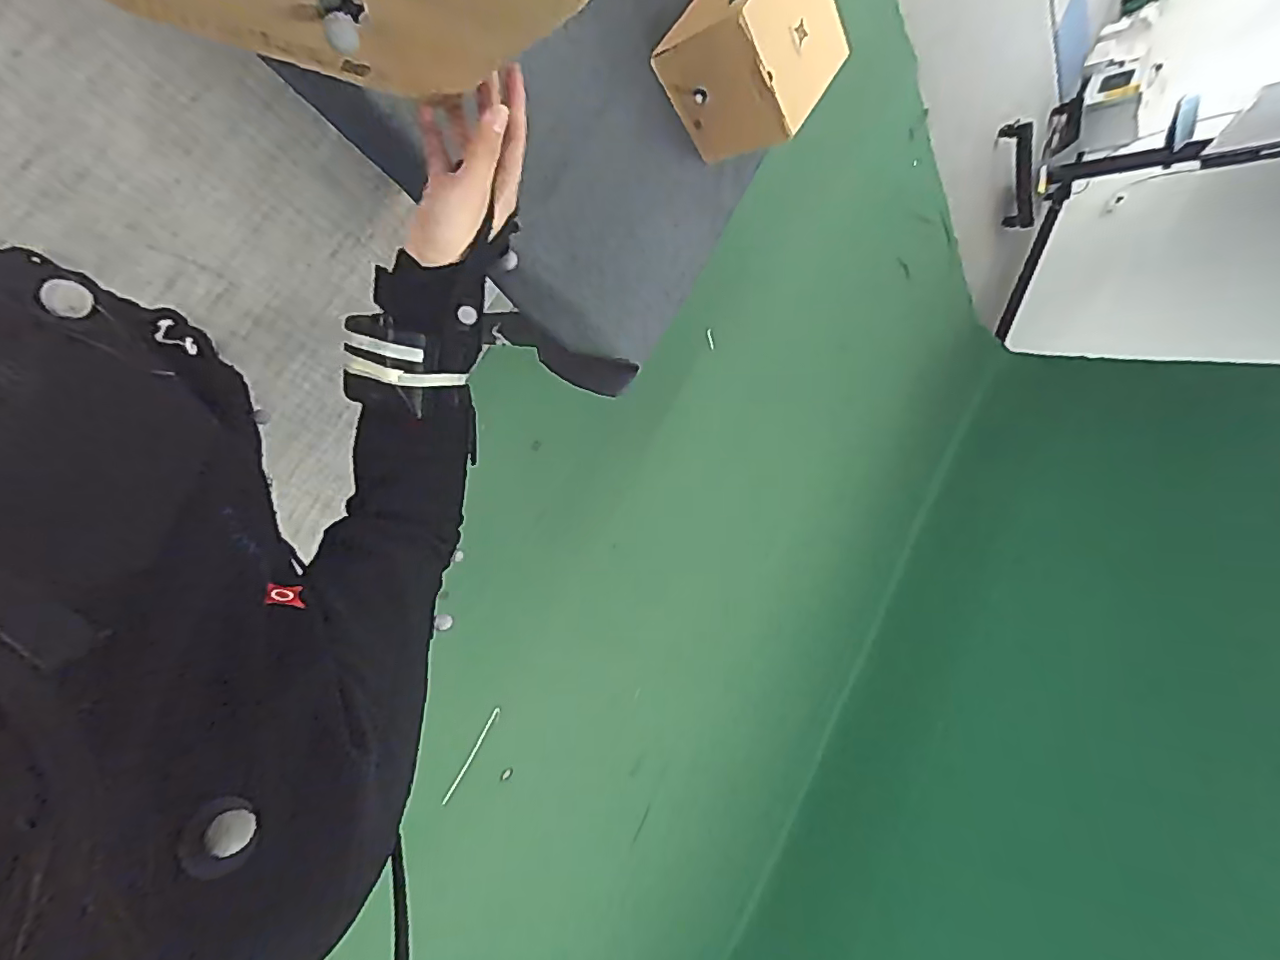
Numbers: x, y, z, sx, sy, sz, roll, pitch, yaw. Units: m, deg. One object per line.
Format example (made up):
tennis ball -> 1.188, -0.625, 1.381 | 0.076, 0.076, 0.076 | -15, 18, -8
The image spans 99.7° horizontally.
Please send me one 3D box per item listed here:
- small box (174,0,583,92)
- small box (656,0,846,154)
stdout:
small box -> -0.132, -0.302, 0.226 | 0.168, 0.176, 0.179 | -11, 109, -41
small box -> 0.154, -0.602, 0.761 | 0.168, 0.176, 0.179 | 42, 76, -41
